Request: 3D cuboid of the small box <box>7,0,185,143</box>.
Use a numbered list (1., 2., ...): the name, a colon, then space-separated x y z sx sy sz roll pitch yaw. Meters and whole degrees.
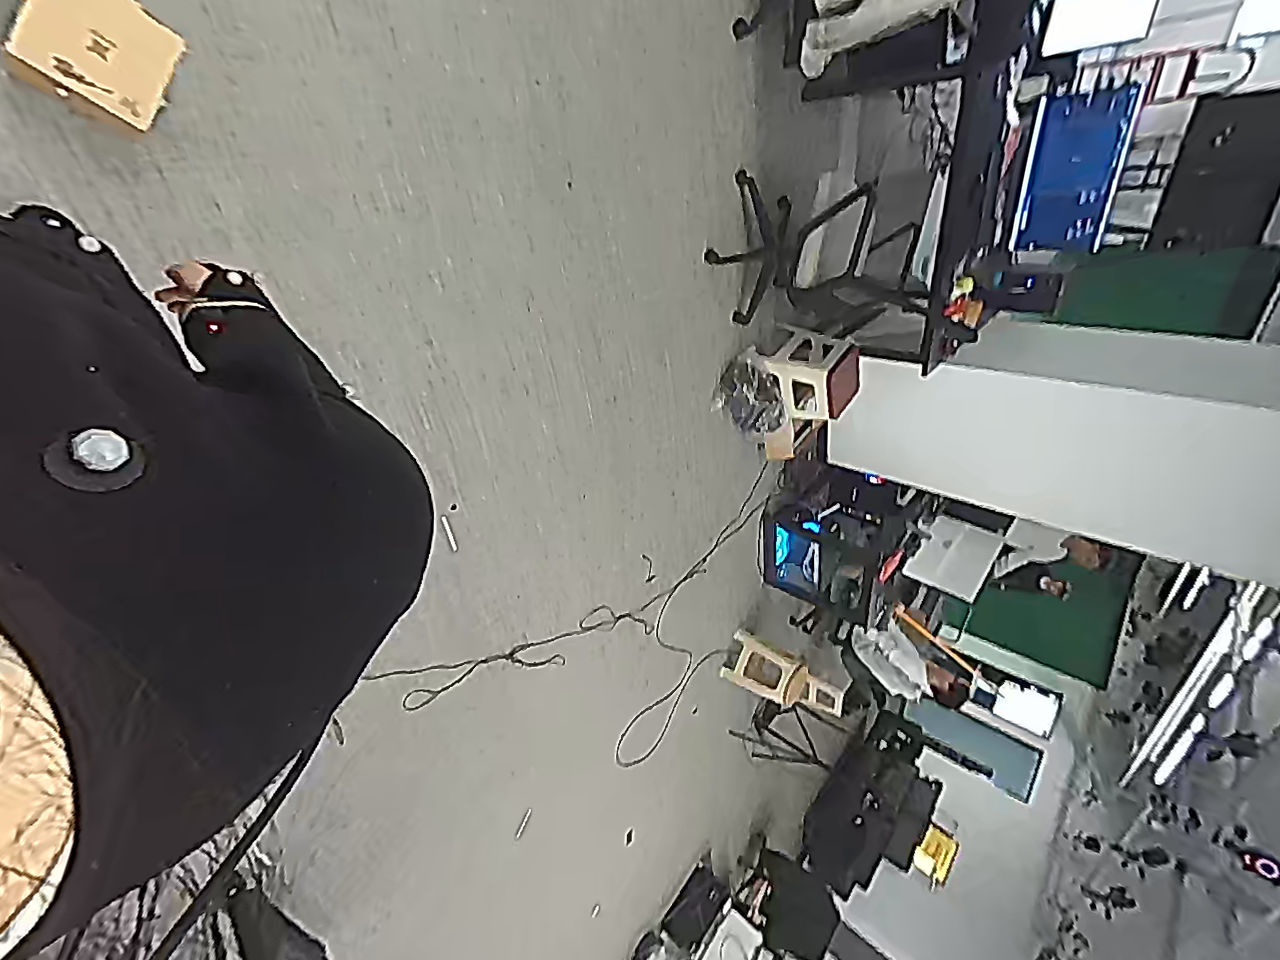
1. small box: -0.918 -0.709 0.911 0.168 0.176 0.179 25 87 -52
